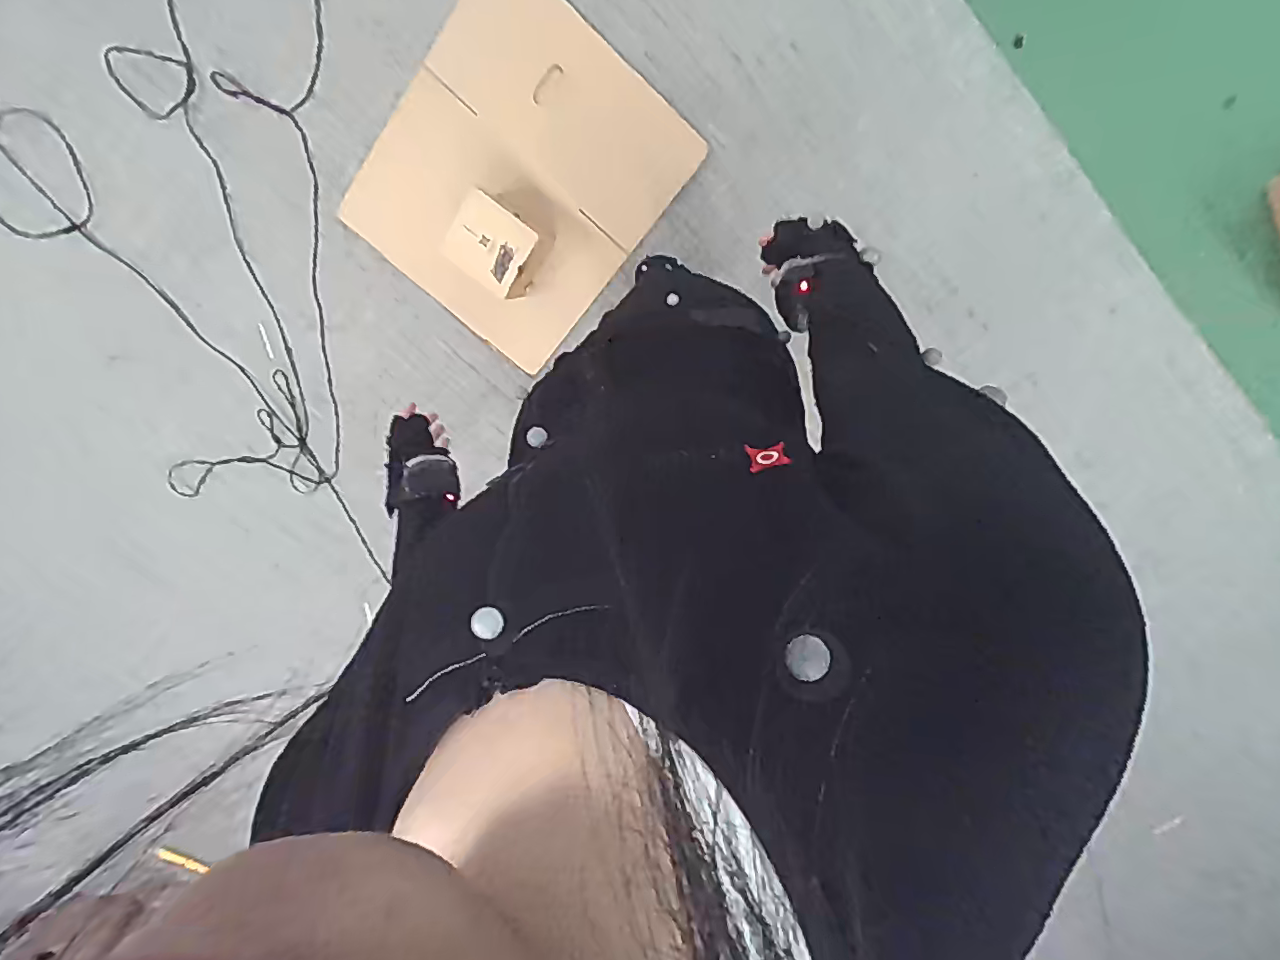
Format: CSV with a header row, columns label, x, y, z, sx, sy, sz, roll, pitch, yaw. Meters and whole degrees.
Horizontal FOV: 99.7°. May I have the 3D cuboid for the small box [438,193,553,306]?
label,x,y,z,sx,sy,sz,roll,pitch,yaw
small box,-0.322,-0.527,1.249,0.179,0.176,0.168,35,108,-9
